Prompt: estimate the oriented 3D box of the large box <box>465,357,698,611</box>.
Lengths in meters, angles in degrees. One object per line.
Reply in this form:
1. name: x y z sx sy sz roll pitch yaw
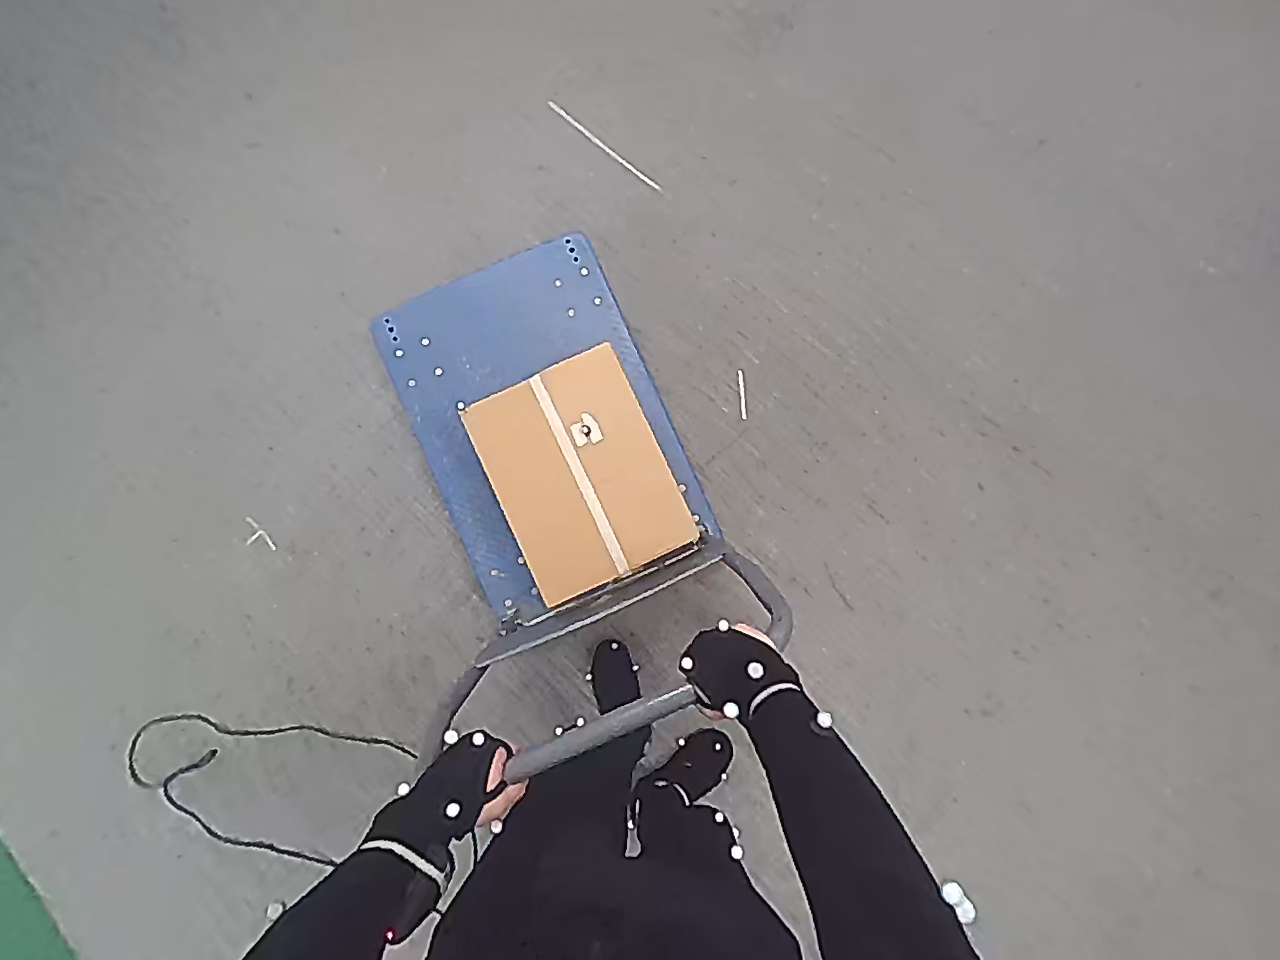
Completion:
1. large box: -0.107 0.013 1.167 0.320 0.320 0.408 -25 87 -1
